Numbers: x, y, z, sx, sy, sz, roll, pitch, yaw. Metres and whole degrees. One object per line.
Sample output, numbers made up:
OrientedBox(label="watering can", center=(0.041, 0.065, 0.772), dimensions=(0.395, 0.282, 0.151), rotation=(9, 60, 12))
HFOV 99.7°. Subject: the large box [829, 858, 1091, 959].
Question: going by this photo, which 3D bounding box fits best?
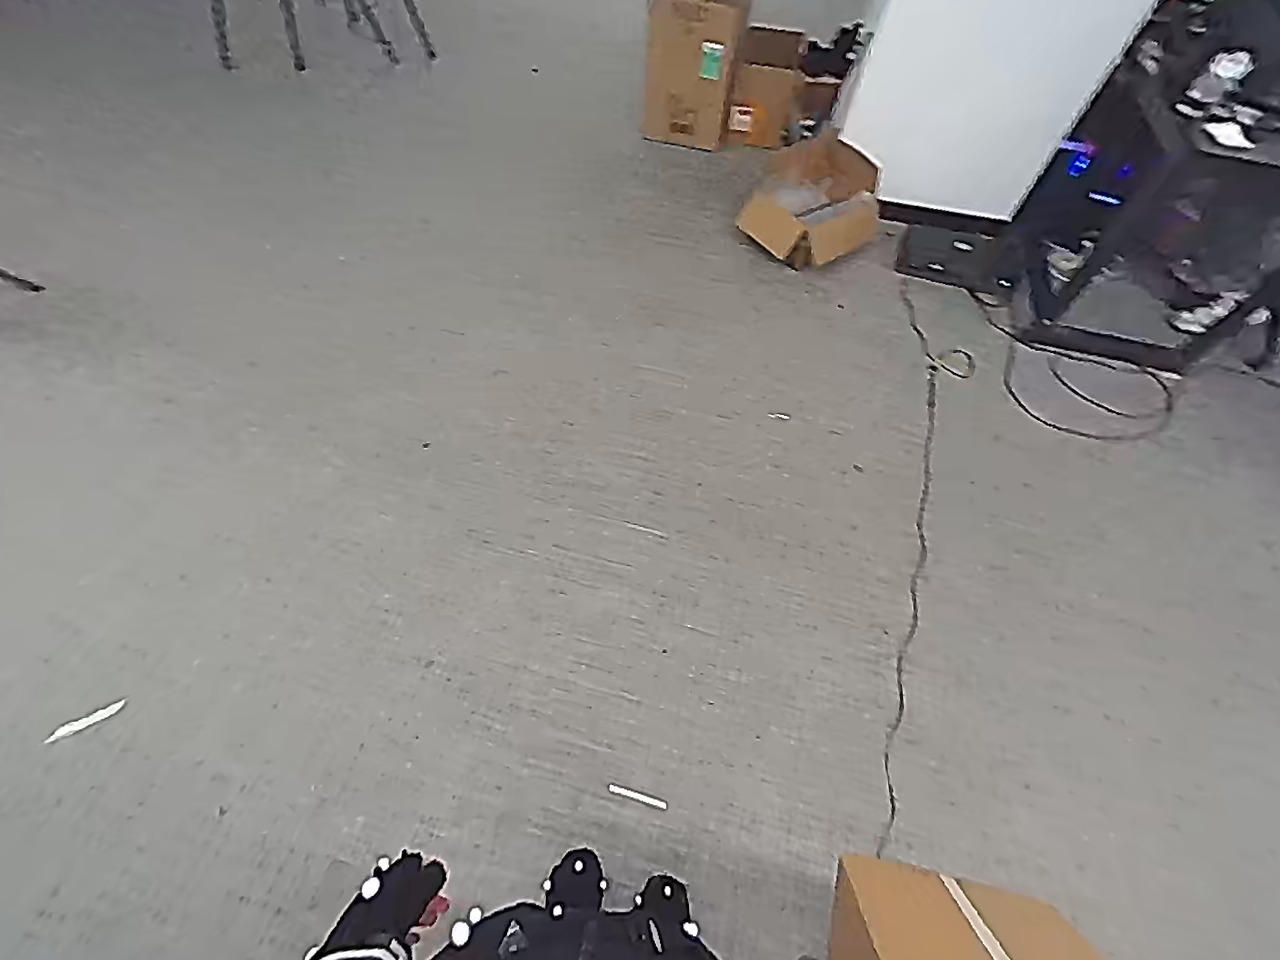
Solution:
OrientedBox(label="large box", center=(0.413, 0.748, 0.628), dimensions=(0.320, 0.408, 0.320), rotation=(9, 84, 10))
